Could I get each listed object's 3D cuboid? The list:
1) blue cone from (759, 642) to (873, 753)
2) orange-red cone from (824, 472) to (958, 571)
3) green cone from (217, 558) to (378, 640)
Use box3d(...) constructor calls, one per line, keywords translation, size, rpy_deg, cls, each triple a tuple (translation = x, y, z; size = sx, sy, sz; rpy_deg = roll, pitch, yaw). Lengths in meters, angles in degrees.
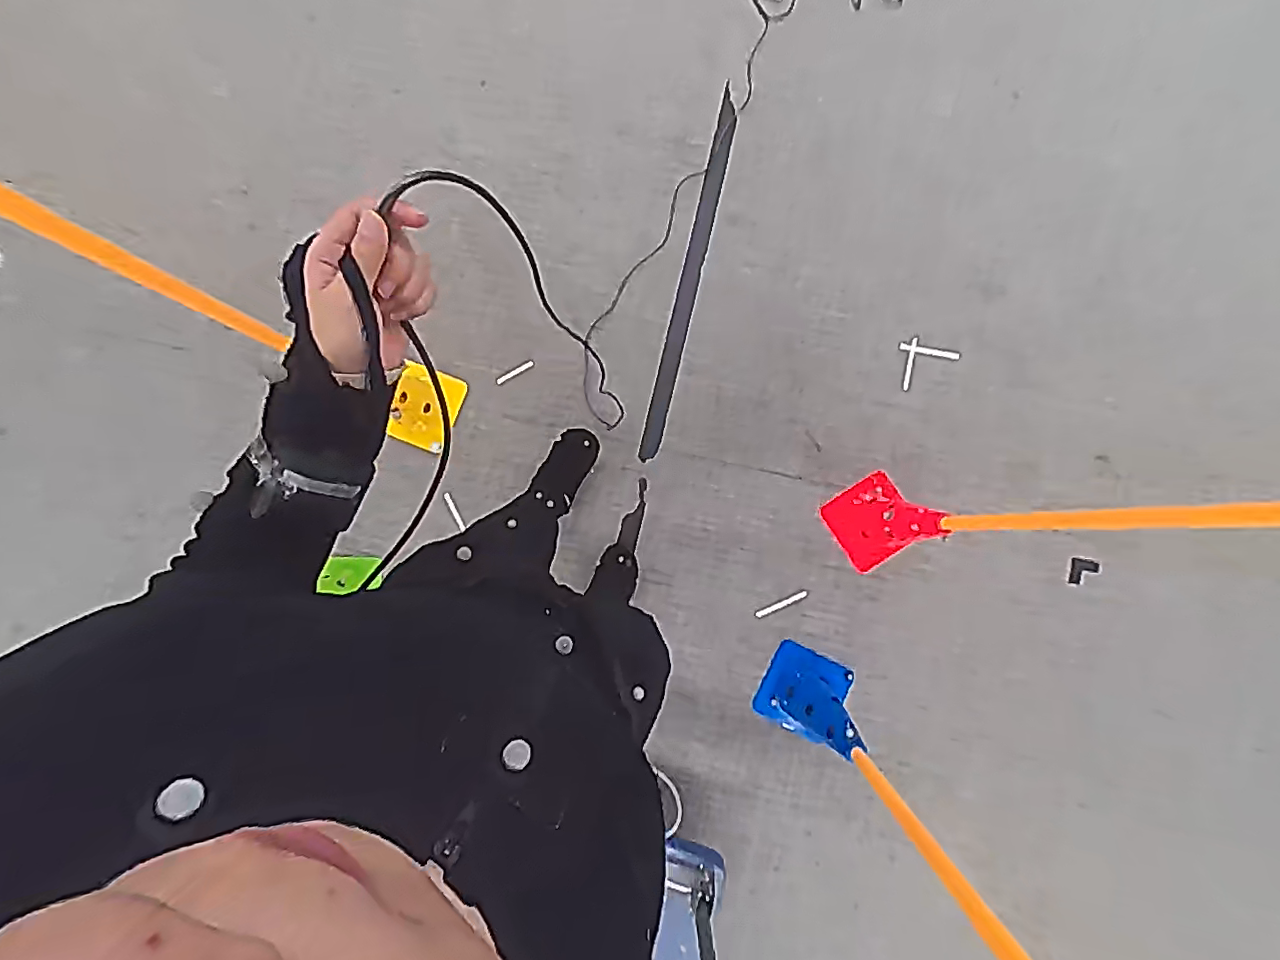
box3d(translation=(0.401, 0.500, 1.159), size=(0.193, 0.380, 0.192), rpy_deg=(28, 86, 3), cls="blue cone")
box3d(translation=(0.575, 0.092, 1.169), size=(0.199, 0.360, 0.198), rpy_deg=(-32, 85, 0), cls="orange-red cone")
box3d(translation=(-0.759, 0.282, 1.181), size=(0.200, 0.368, 0.202), rpy_deg=(-1, 85, 1), cls="green cone")
